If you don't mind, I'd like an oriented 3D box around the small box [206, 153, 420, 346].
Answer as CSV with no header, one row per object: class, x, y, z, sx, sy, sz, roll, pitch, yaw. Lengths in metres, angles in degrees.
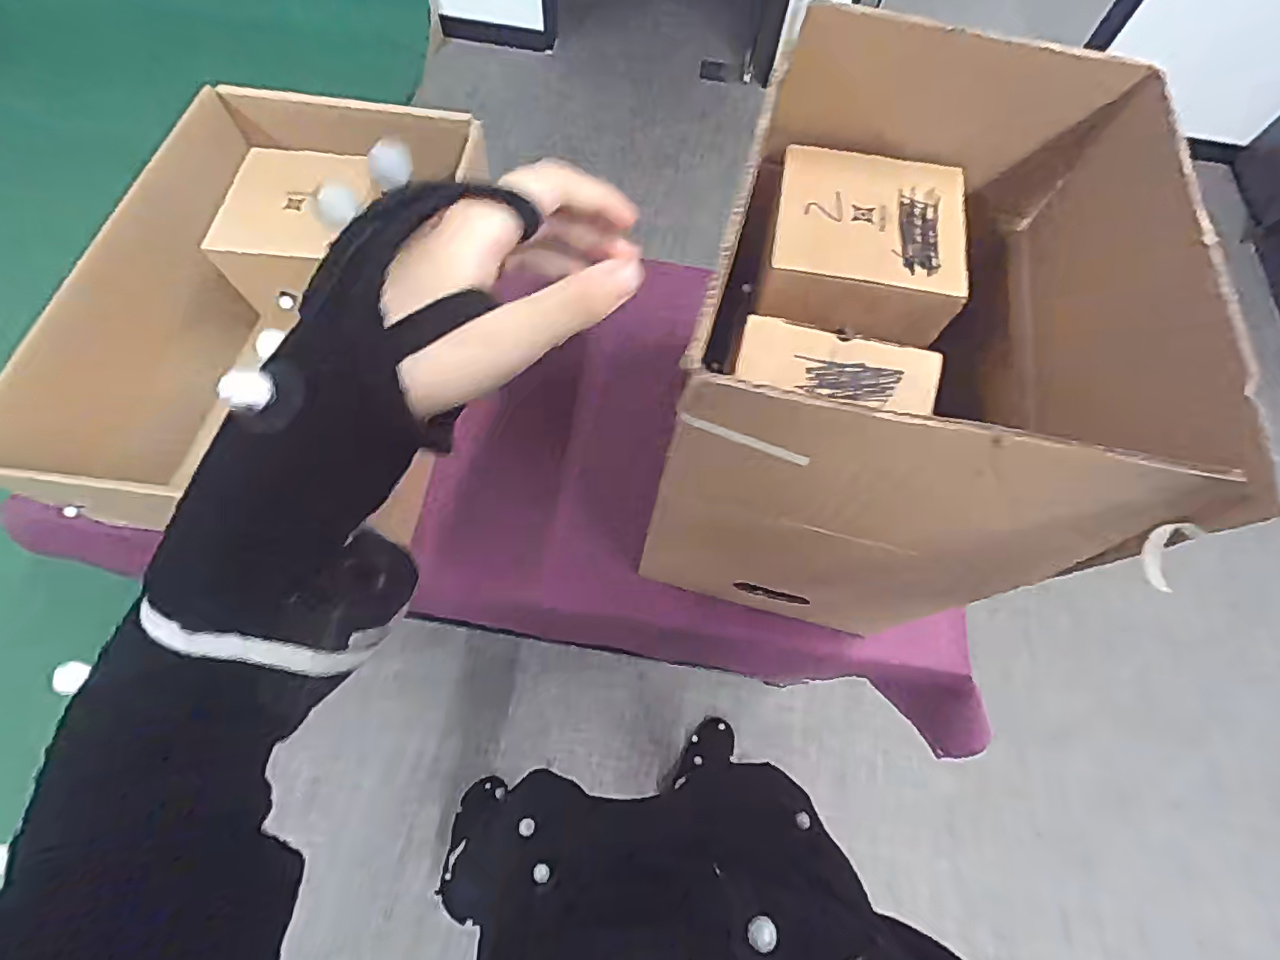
small box,-0.417,-0.300,0.728,0.168,0.176,0.179,4,67,0
